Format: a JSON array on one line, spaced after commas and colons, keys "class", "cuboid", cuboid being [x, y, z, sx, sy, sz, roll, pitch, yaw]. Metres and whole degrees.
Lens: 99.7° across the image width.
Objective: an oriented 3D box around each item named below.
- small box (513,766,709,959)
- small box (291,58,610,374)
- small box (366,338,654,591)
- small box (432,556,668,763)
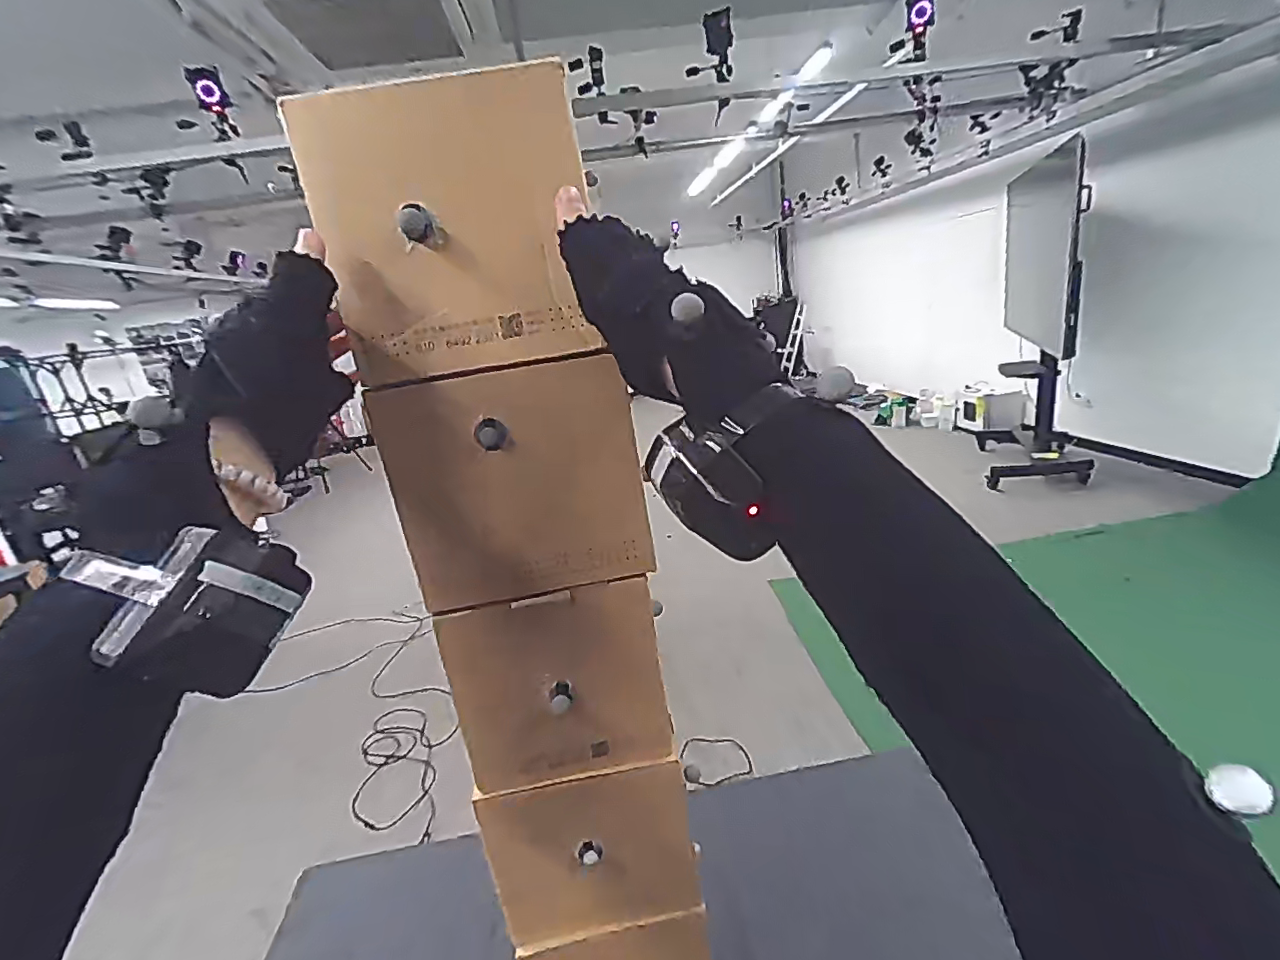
[{"class": "small box", "cuboid": [-0.027, 0.451, 0.580, 0.179, 0.176, 0.168, -10, 16, -5]}, {"class": "small box", "cuboid": [-0.117, -0.176, 0.417, 0.168, 0.176, 0.179, -9, 15, -2]}, {"class": "small box", "cuboid": [-0.092, -0.021, 0.459, 0.179, 0.176, 0.168, -9, 16, -3]}, {"class": "small box", "cuboid": [-0.073, 0.136, 0.508, 0.168, 0.176, 0.179, -9, 16, -4]}]
